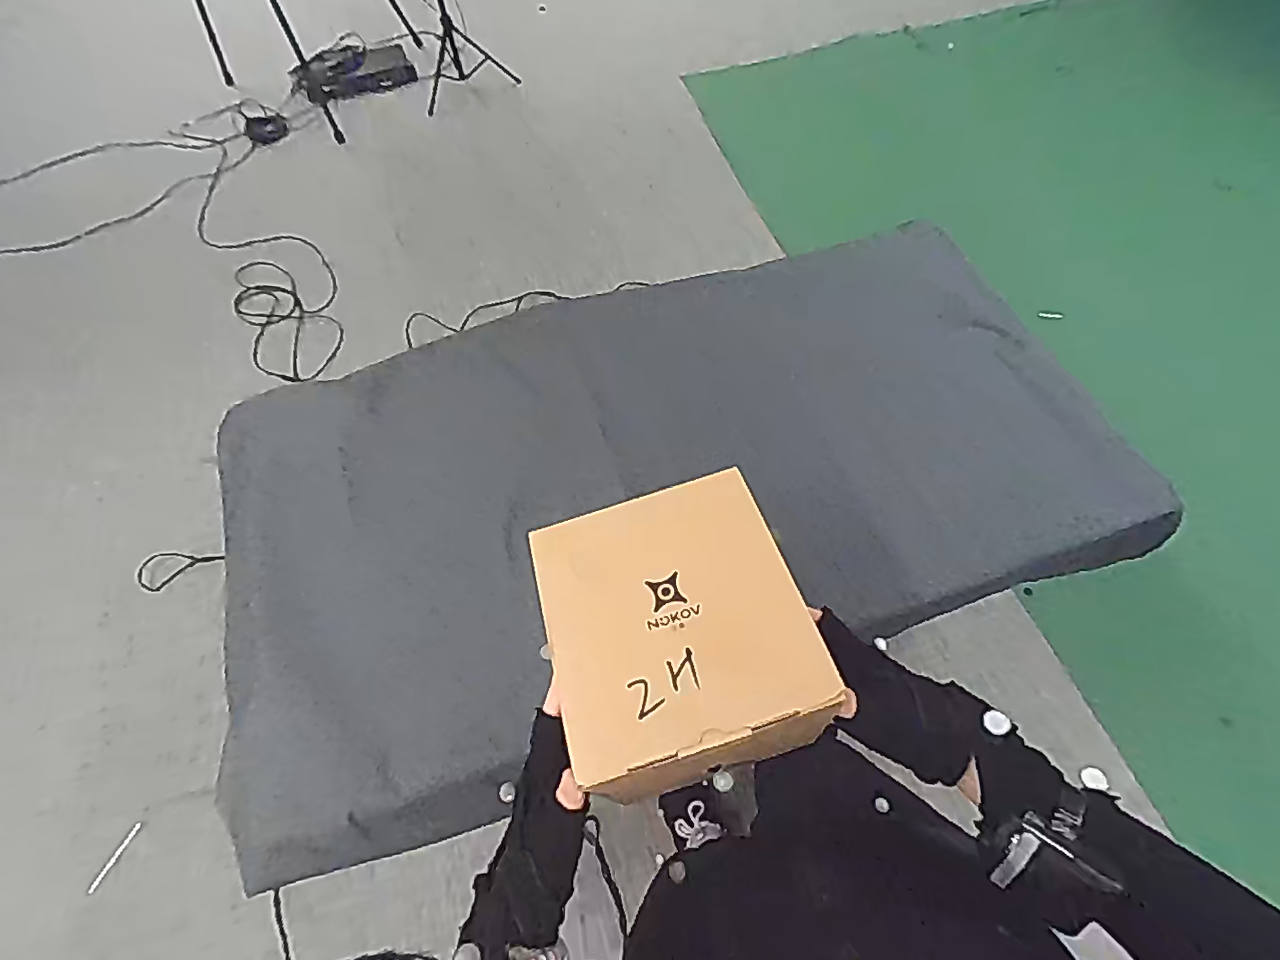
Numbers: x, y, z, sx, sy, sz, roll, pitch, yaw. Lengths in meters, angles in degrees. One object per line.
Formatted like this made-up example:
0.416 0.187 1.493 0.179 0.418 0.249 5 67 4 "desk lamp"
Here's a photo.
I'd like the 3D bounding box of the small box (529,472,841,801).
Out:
0.028 0.127 0.419 0.168 0.176 0.179 -18 56 -1 "small box"
